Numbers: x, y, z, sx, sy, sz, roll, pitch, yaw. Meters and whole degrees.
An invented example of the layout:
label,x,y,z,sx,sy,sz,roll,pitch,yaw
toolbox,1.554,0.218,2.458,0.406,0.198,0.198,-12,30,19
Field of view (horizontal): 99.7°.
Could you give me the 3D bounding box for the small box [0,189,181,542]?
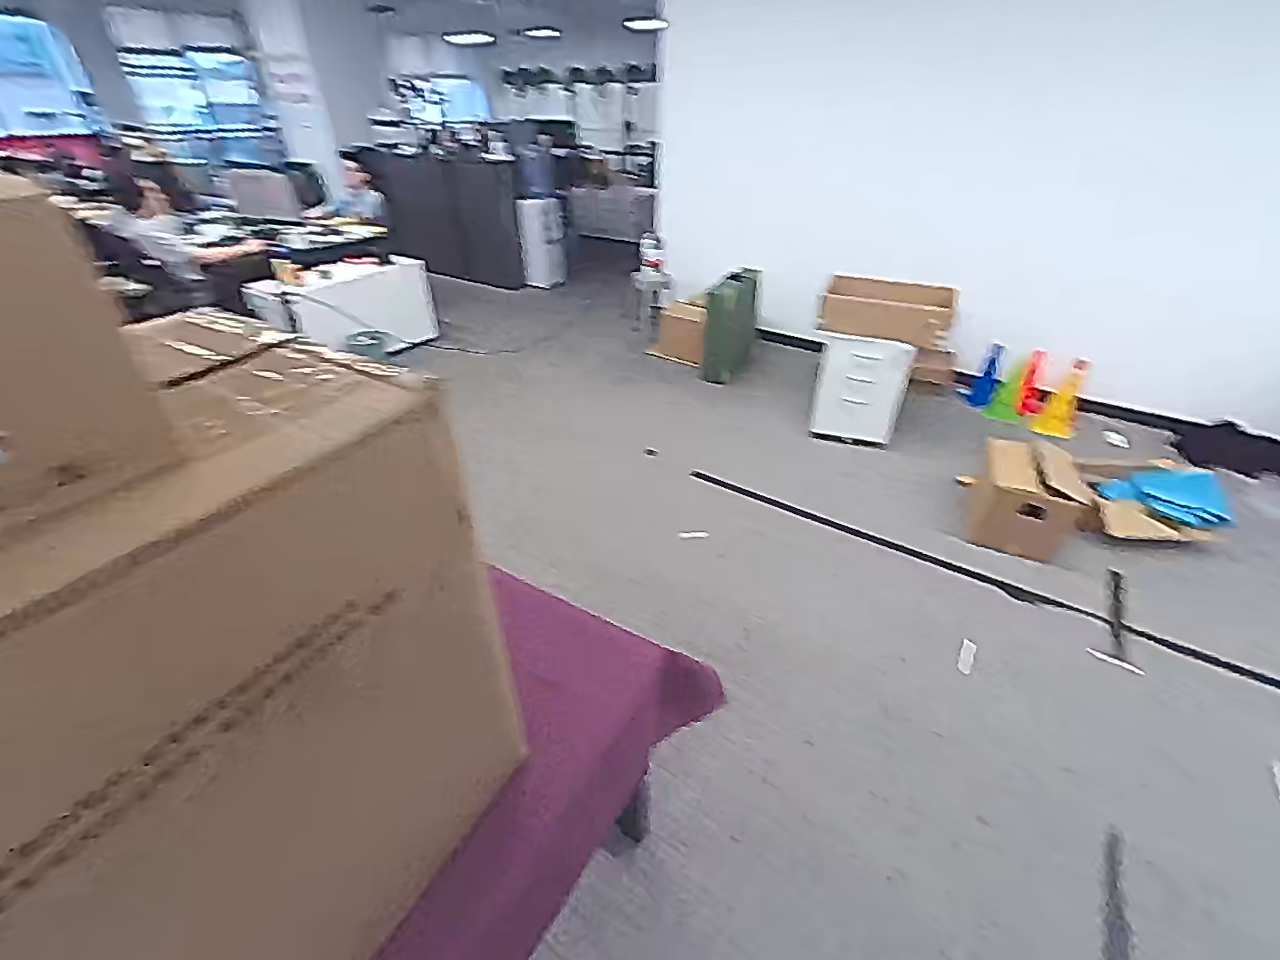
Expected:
label,x,y,z,sx,sy,sz,roll,pitch,yaw
small box,-0.428,-0.067,0.312,0.179,0.176,0.168,22,41,25
